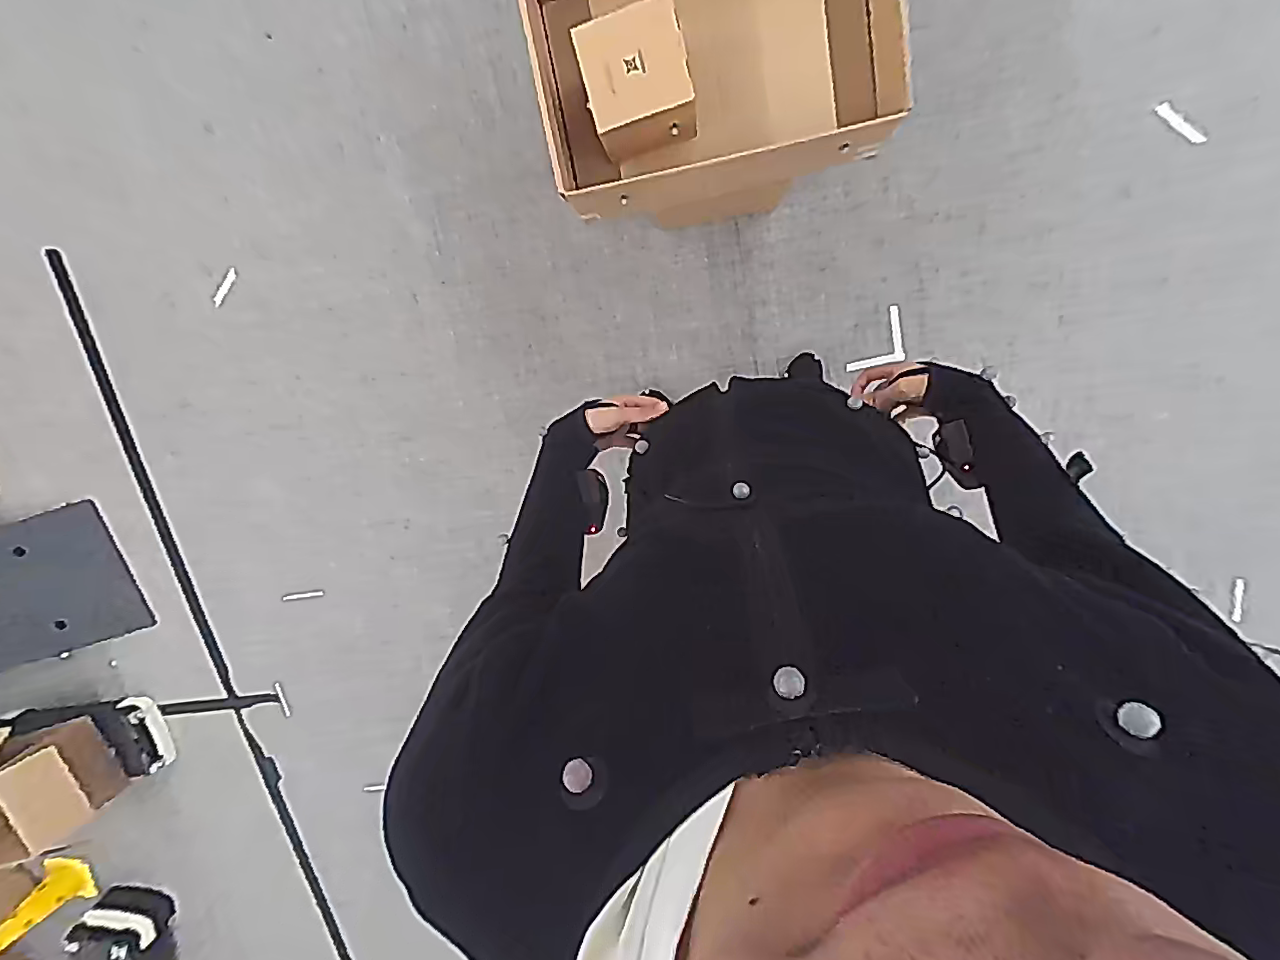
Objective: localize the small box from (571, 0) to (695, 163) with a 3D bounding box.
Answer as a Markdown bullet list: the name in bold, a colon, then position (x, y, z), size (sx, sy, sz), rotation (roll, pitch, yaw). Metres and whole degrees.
- **small box**: position (-0.004, -0.704, 0.970), size (0.179, 0.176, 0.168), rotation (-14, 101, 10)
